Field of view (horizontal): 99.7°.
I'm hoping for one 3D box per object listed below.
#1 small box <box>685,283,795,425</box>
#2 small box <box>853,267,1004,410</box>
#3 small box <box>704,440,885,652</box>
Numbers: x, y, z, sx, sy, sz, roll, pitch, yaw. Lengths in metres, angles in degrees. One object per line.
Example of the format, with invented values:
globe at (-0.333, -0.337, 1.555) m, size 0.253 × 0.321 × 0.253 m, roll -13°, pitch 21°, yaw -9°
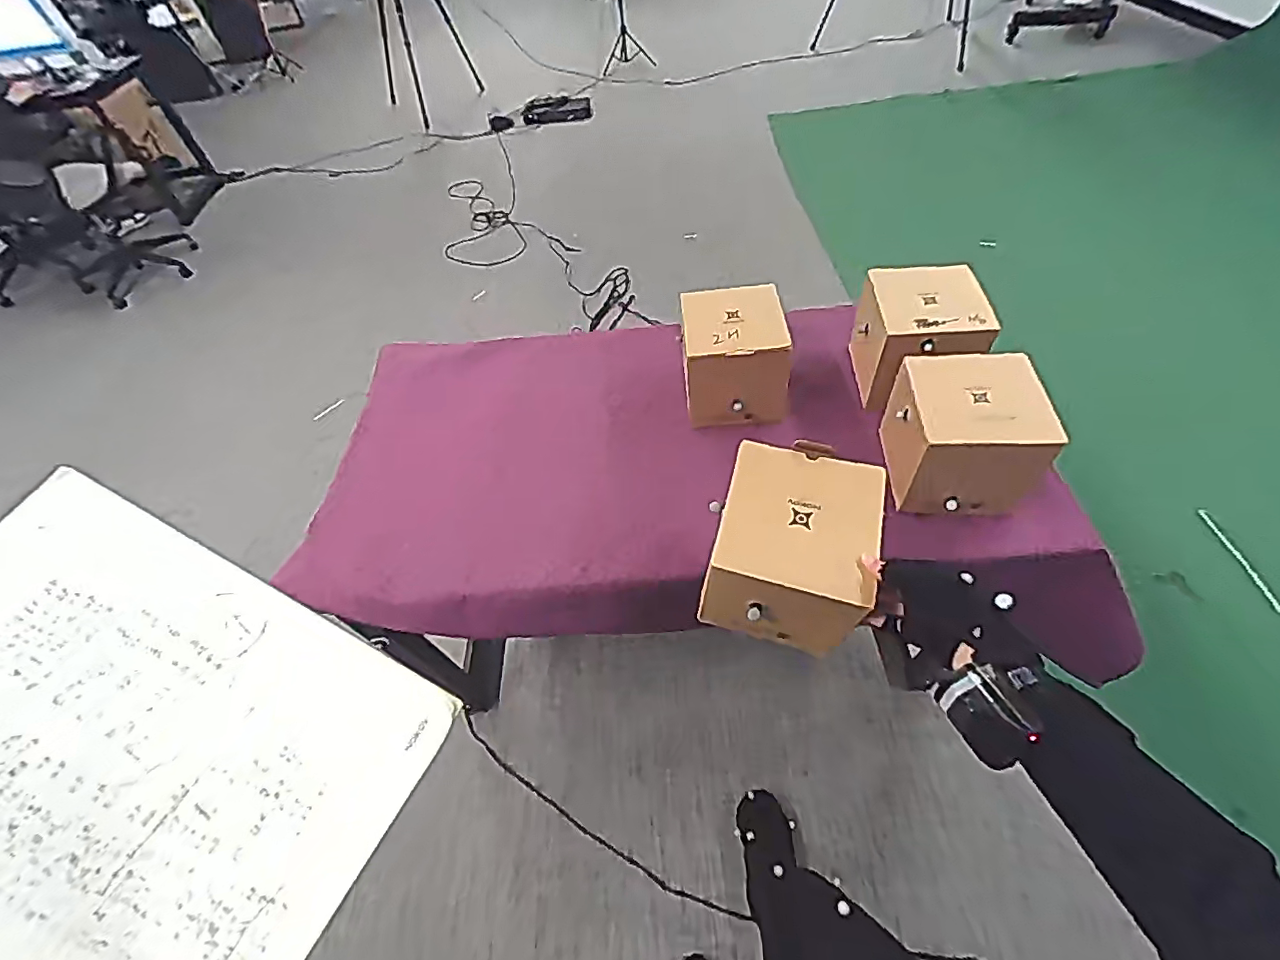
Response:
small box at (0.165, -0.218, 0.950) m, size 0.168 × 0.176 × 0.179 m, roll -4°, pitch 53°, yaw 4°
small box at (0.477, -0.240, 0.928) m, size 0.168 × 0.176 × 0.179 m, roll -1°, pitch 53°, yaw 7°
small box at (0.177, 0.084, 0.649) m, size 0.168 × 0.176 × 0.179 m, roll 14°, pitch 56°, yaw 10°
